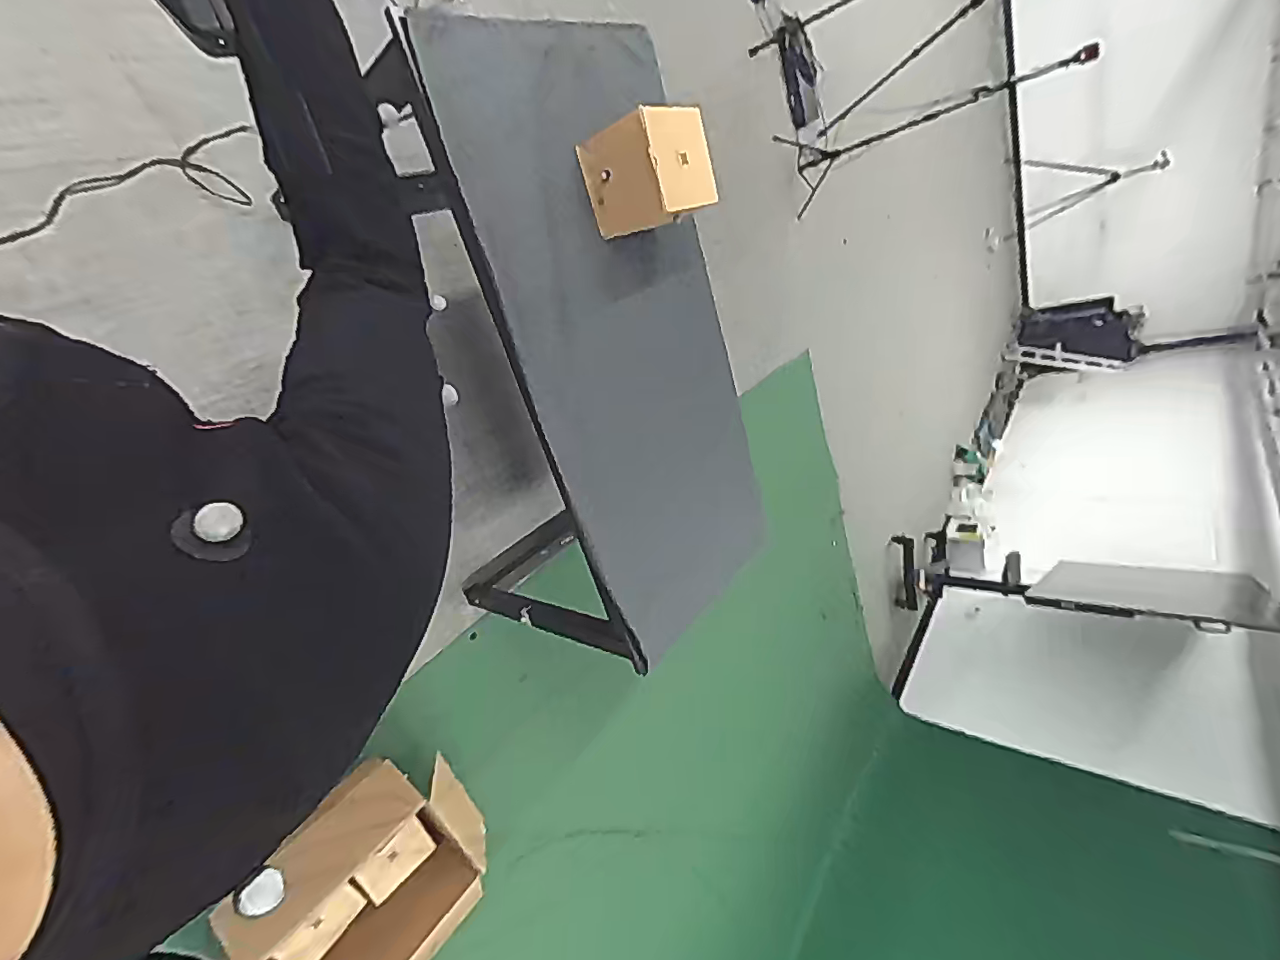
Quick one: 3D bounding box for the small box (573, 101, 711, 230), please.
[{"bbox_3d":[0.004,-0.588,1.021,0.179,0.176,0.168,-36,118,-40],"label":"small box"}]
